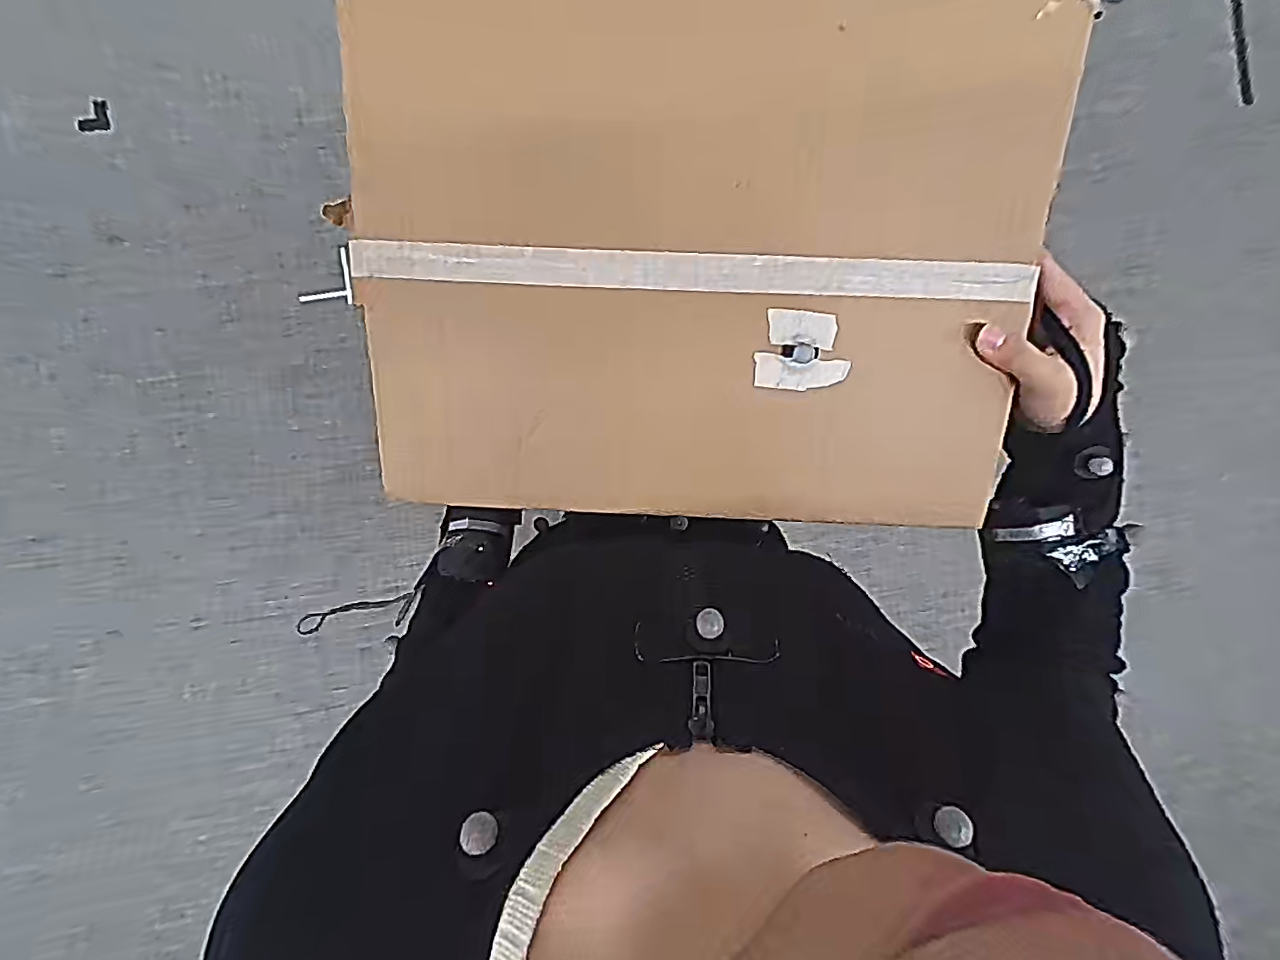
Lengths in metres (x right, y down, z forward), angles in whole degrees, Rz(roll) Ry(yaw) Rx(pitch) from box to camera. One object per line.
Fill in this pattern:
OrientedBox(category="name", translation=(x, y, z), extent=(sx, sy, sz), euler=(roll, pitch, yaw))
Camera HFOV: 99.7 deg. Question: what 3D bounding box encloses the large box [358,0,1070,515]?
OrientedBox(category="large box", translation=(0.037, -0.164, 0.480), extent=(0.408, 0.320, 0.320), euler=(2, 106, -1))
